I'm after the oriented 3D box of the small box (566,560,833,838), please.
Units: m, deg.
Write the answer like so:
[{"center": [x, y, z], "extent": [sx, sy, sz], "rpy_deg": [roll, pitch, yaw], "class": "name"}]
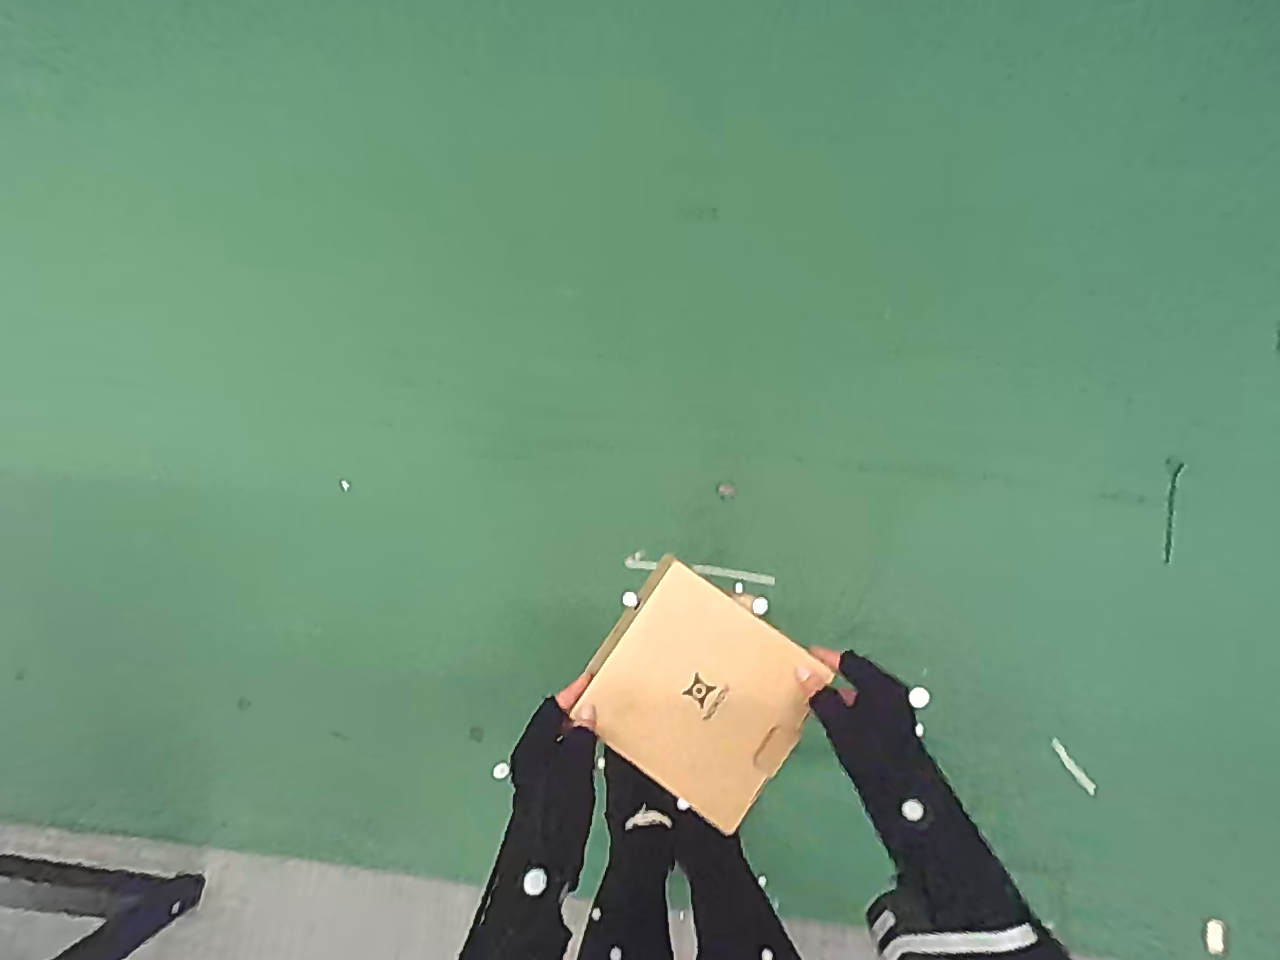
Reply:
[{"center": [0.050, 0.196, 0.542], "extent": [0.179, 0.176, 0.168], "rpy_deg": [36, 84, 3], "class": "small box"}]
